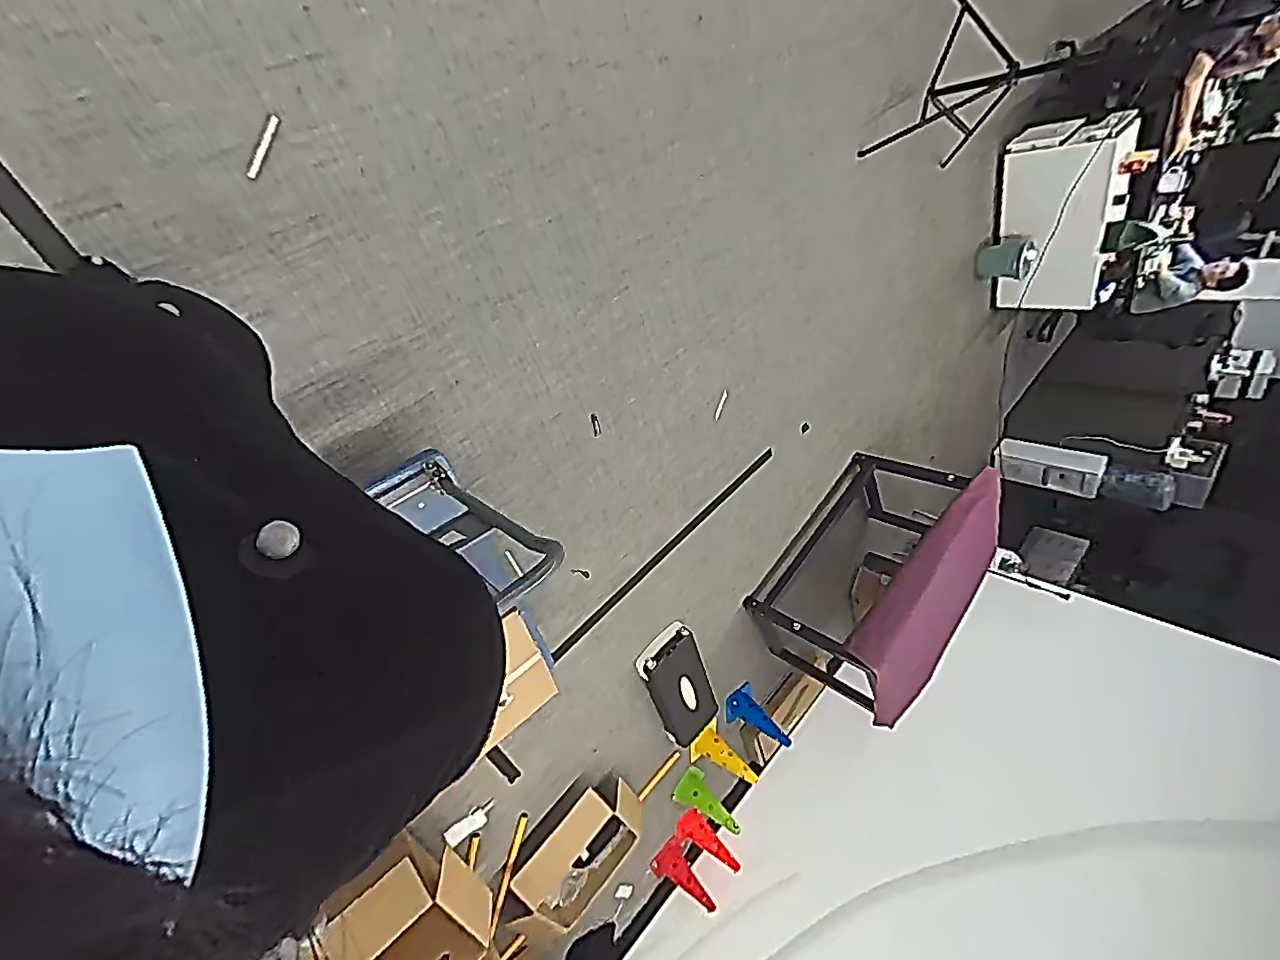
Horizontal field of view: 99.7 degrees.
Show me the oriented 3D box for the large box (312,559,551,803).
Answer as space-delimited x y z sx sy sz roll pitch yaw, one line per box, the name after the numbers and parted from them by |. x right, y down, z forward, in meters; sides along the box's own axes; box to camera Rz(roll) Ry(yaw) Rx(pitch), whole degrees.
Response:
-0.506 0.470 1.341 0.408 0.320 0.320 -35 127 -30 | large box
